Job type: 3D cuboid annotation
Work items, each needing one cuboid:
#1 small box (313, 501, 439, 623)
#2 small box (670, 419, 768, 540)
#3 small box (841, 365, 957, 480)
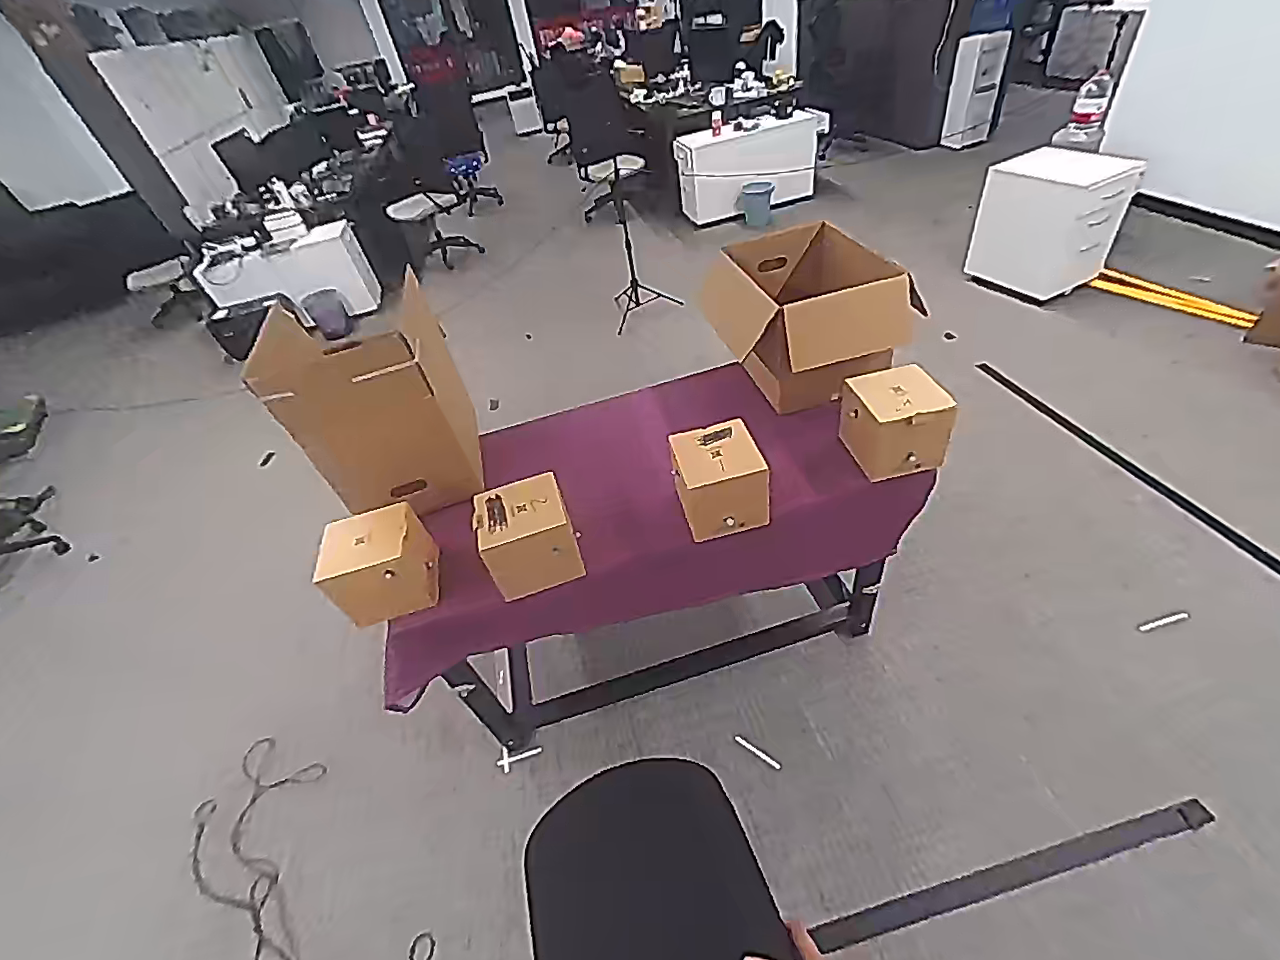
[{"bbox_3d":[-0.547,0.177,1.146,0.179,0.176,0.168,-16,43,-6],"label":"small box"},{"bbox_3d":[0.168,0.000,1.166,0.168,0.176,0.179,-14,43,-1],"label":"small box"},{"bbox_3d":[0.562,-0.127,1.204,0.168,0.176,0.179,-13,42,1],"label":"small box"}]
